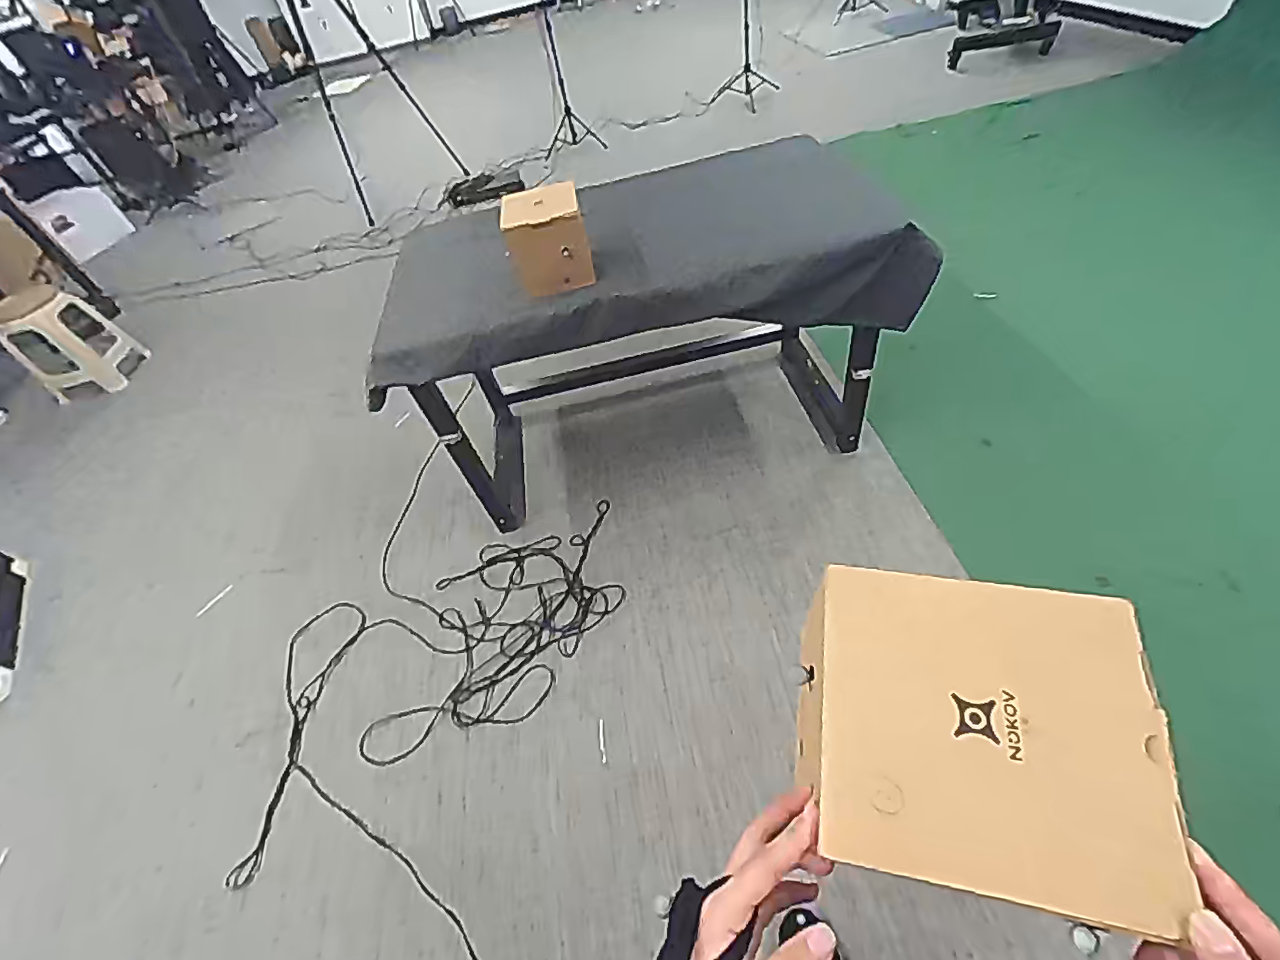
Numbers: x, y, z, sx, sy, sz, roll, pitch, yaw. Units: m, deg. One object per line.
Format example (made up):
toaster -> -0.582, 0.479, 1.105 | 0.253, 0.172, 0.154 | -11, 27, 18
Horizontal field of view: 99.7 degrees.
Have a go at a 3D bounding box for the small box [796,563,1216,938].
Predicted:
small box -> 0.206, 0.172, 0.370 | 0.179, 0.176, 0.168 | 6, 62, 12

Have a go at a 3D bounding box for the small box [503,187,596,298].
small box -> -0.201, -0.528, 1.219 | 0.168, 0.176, 0.179 | -12, 47, 0
